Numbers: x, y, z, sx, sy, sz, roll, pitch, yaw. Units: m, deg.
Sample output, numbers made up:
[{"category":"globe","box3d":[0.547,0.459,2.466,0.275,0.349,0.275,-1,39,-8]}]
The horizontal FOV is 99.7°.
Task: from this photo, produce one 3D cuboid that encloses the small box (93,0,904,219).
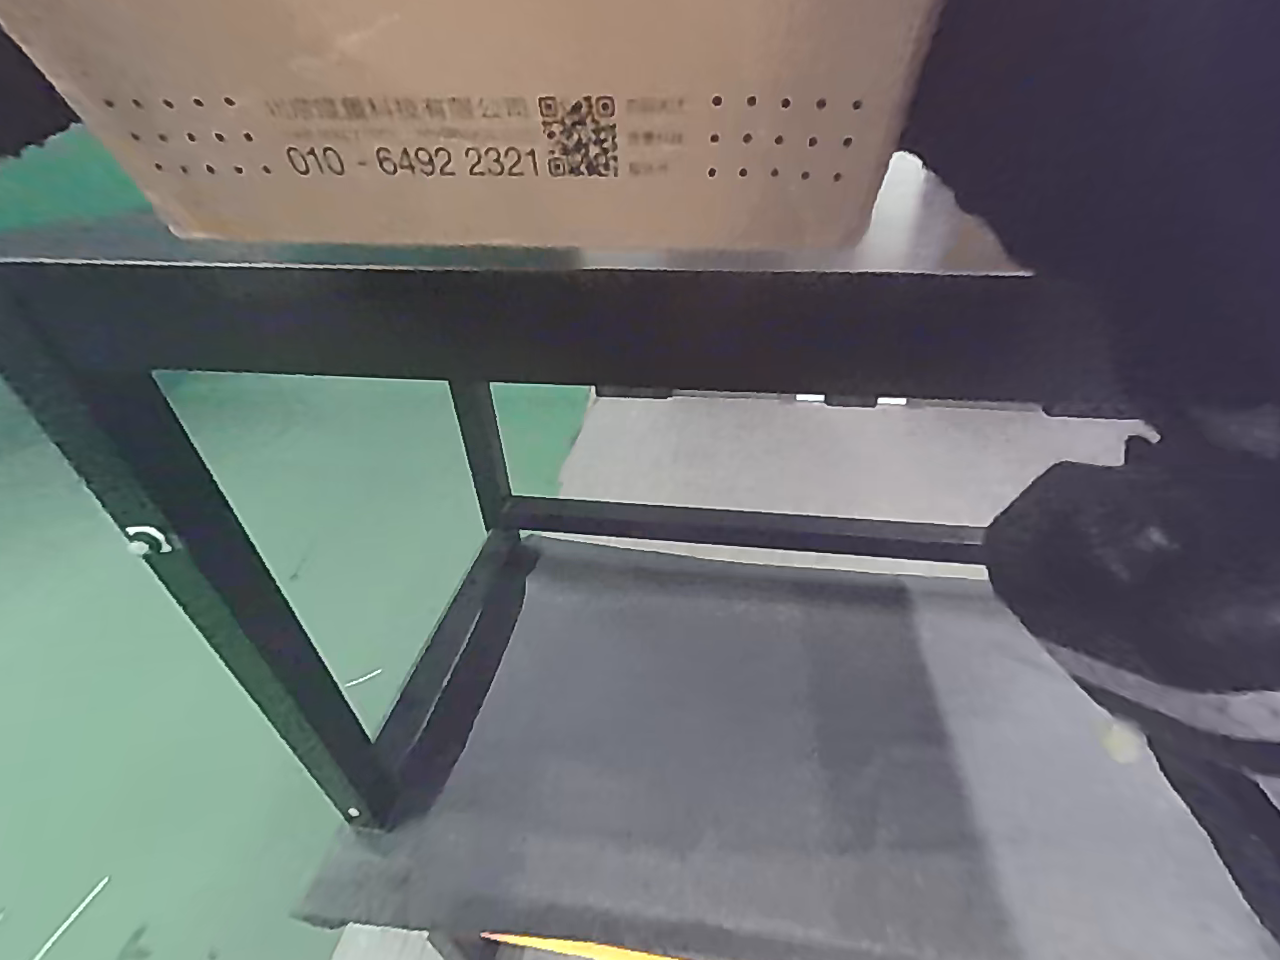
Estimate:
[{"category":"small box","box3d":[-0.027,-0.177,0.115,0.168,0.176,0.179,2,56,4]}]
